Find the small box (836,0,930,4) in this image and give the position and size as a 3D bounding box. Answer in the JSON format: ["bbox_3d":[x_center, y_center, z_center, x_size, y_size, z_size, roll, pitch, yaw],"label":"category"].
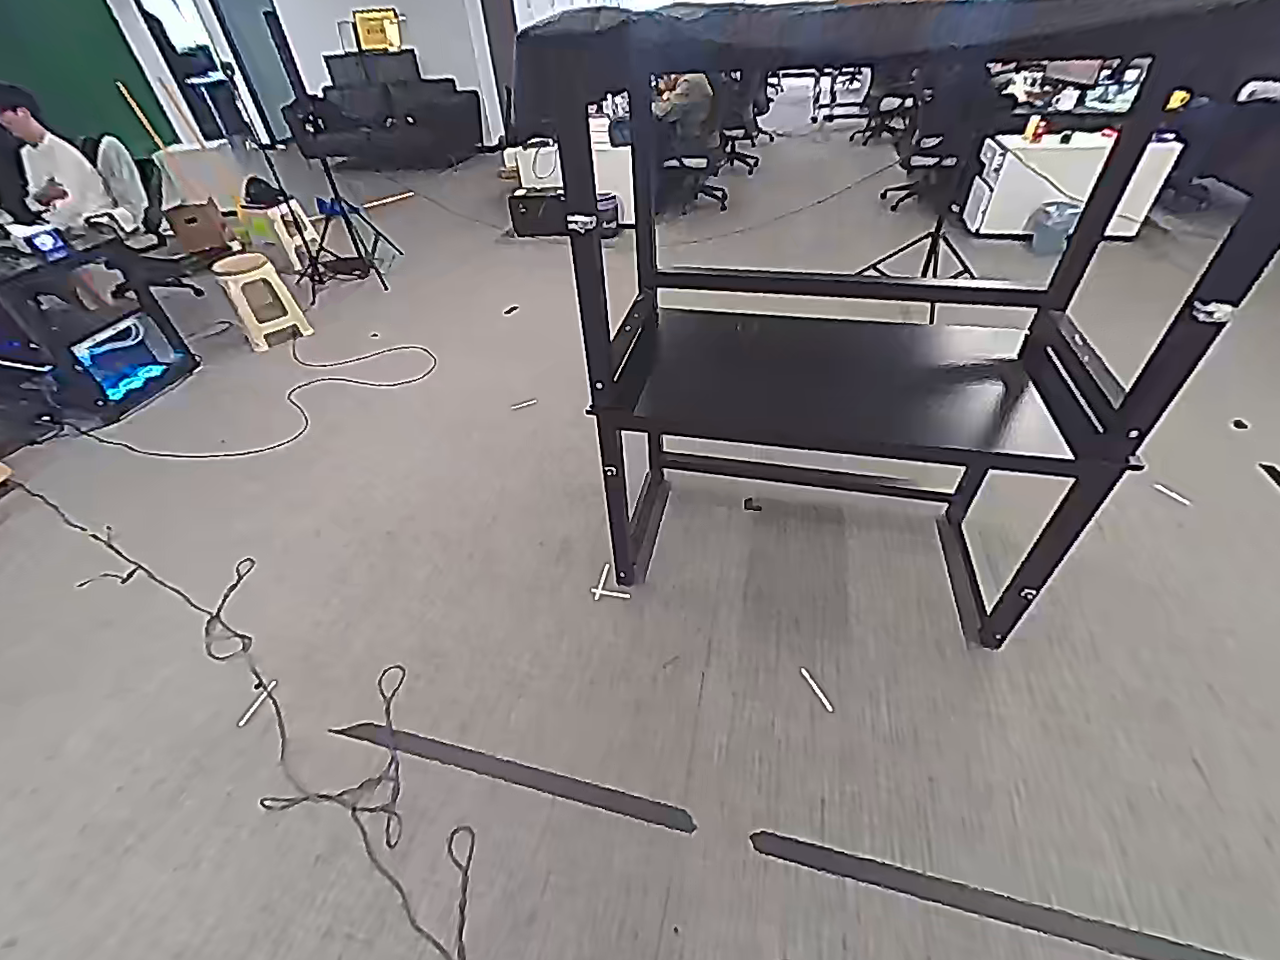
[{"bbox_3d":[0.385,-0.814,0.791,0.168,0.176,0.179,8,41,13],"label":"small box"}]
